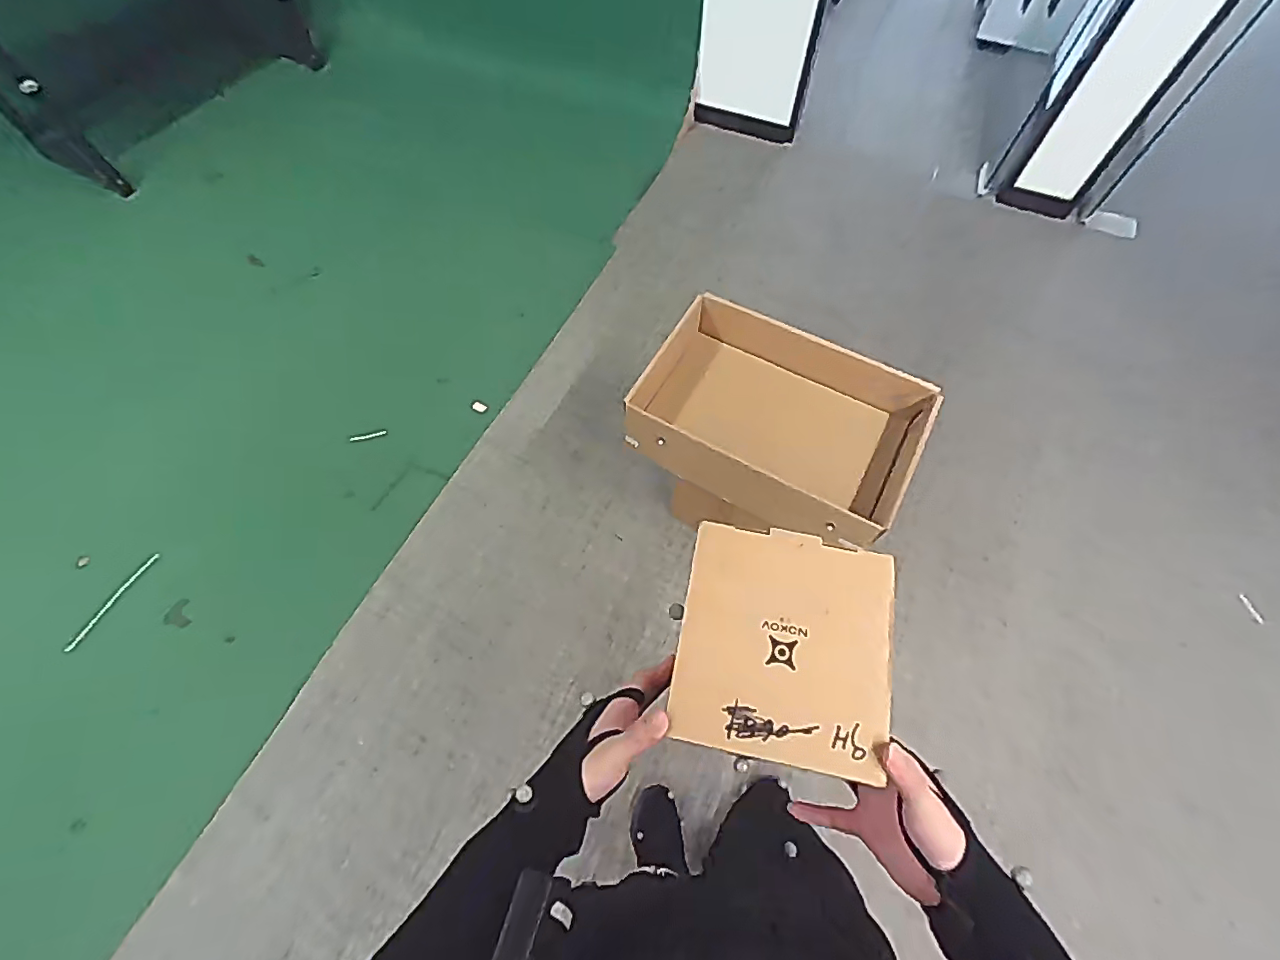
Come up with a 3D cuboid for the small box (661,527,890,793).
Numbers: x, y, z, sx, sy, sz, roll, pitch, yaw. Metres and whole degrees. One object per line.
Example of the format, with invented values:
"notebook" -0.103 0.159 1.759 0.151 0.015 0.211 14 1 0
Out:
"small box" 0.114 0.164 0.502 0.168 0.176 0.179 10 68 7
